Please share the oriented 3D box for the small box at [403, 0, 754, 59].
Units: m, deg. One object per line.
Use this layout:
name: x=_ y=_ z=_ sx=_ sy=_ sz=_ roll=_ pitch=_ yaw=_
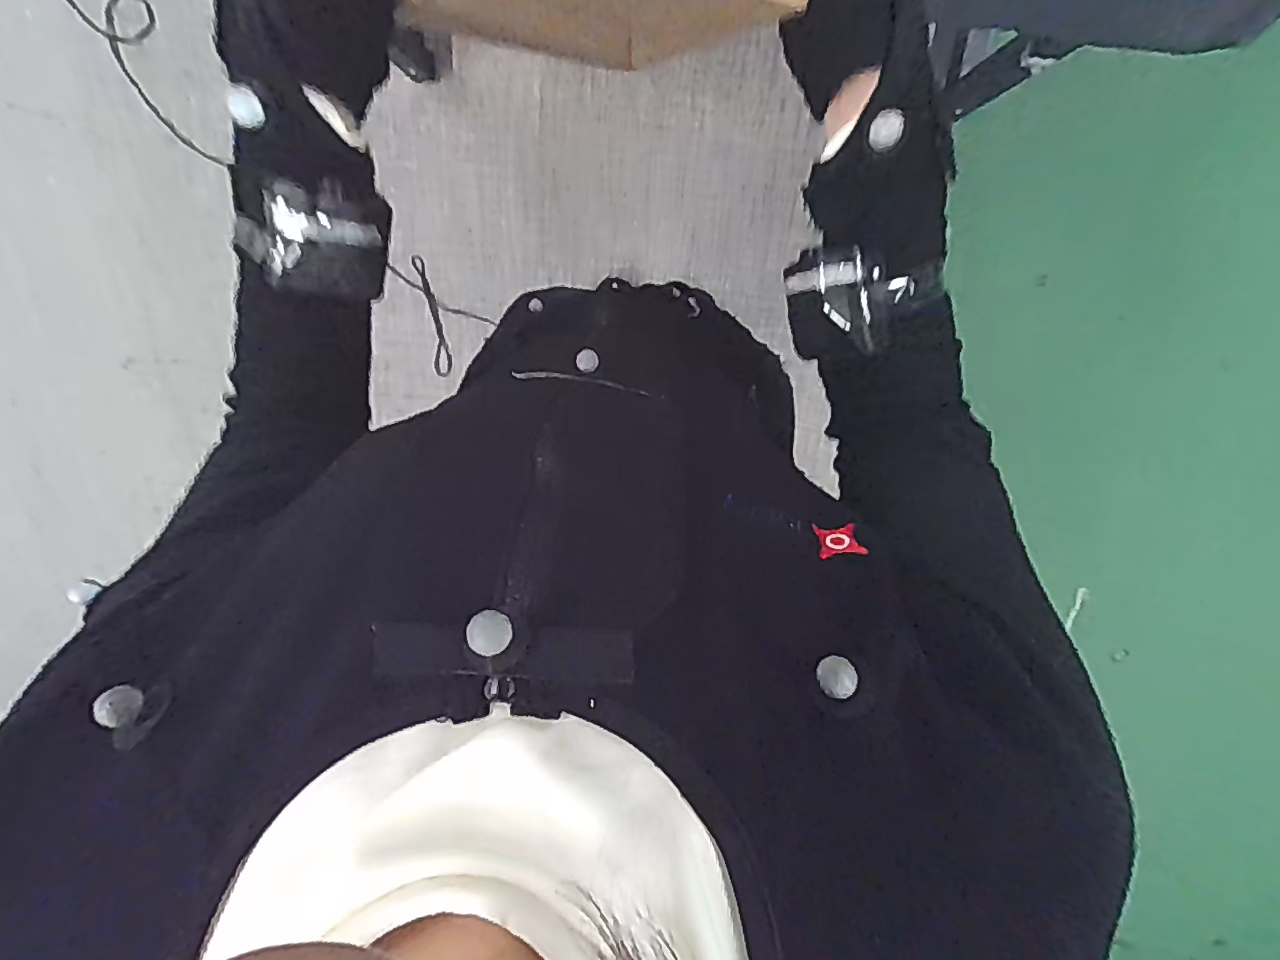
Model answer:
small box: x=-0.028 y=-0.335 z=0.264 sx=0.168 sy=0.179 sz=0.176 roll=-11 pitch=117 yaw=-29
